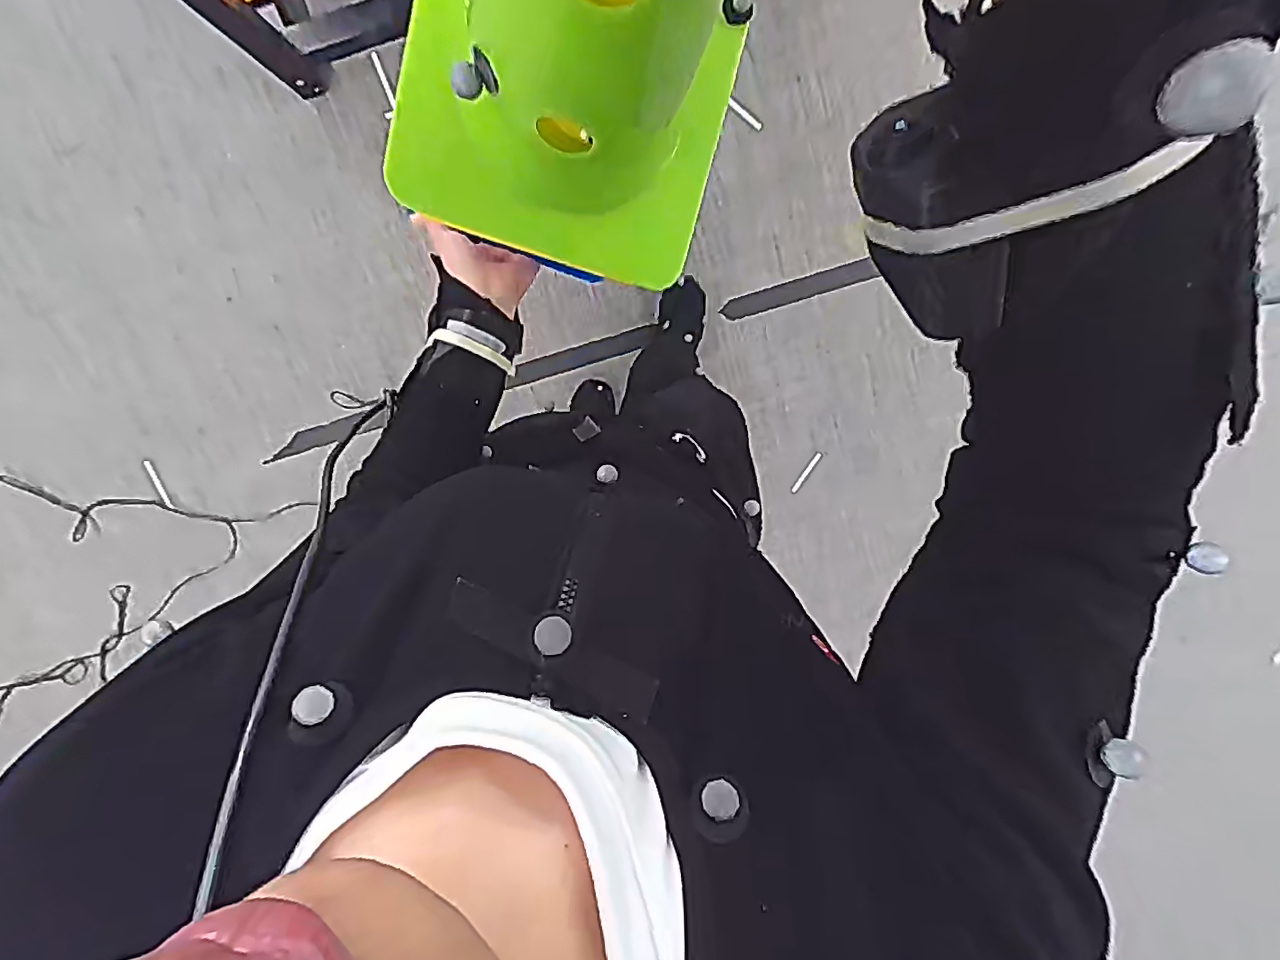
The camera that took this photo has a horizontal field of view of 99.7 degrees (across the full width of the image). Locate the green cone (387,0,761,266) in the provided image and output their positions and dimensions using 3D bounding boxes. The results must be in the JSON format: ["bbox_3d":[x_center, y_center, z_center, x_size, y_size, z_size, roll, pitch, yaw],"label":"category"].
[{"bbox_3d":[0.000,-0.216,0.168,0.200,0.368,0.202,13,100,-15],"label":"green cone"}]
